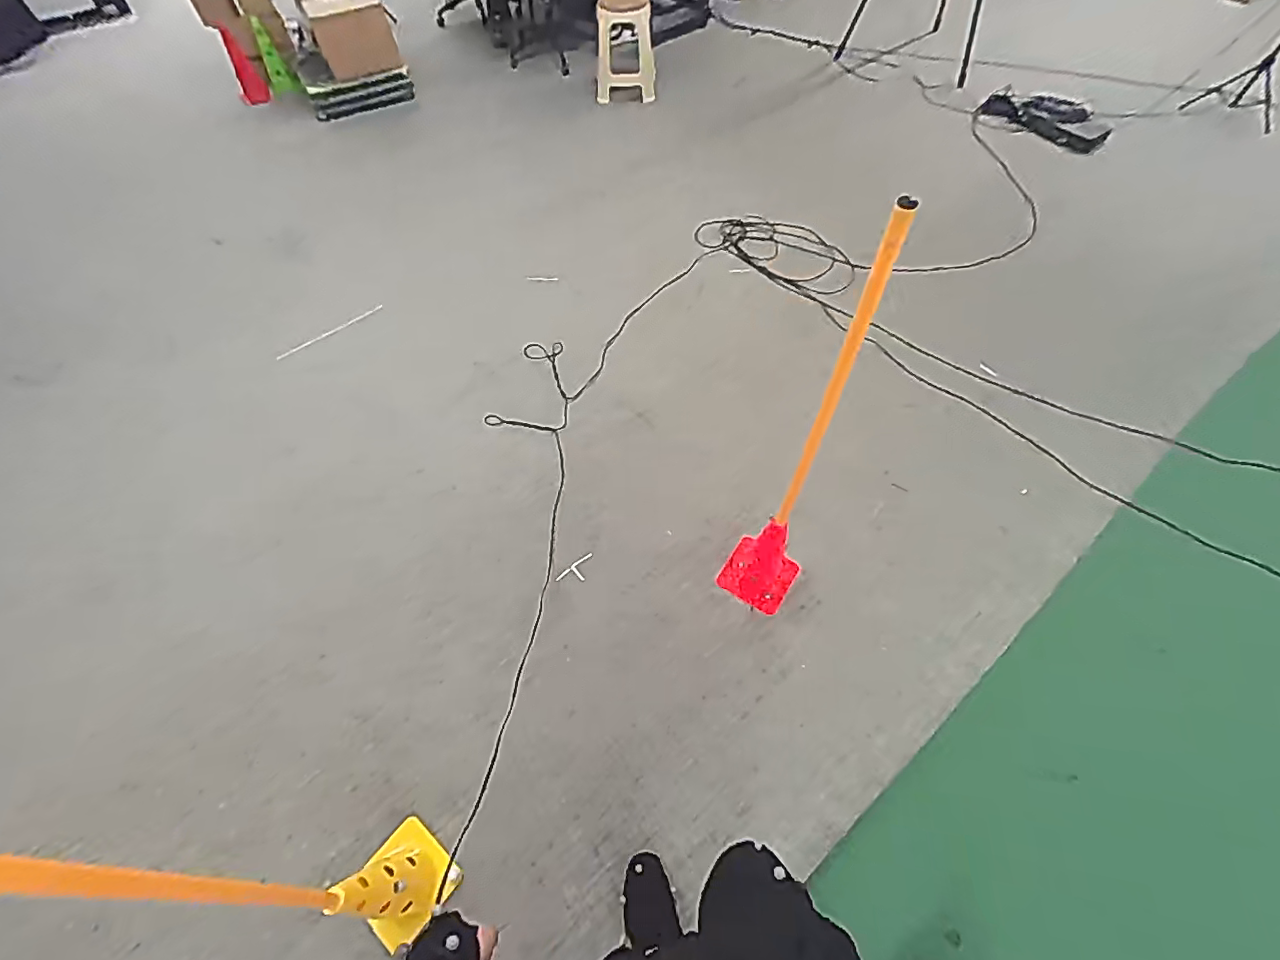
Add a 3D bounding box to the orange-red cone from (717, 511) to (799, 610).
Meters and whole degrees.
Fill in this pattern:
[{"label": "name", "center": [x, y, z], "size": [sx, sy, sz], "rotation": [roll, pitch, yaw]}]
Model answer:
[{"label": "orange-red cone", "center": [0.359, 0.186, 1.506], "size": [0.198, 0.360, 0.199], "rotation": [31, 63, 18]}]
